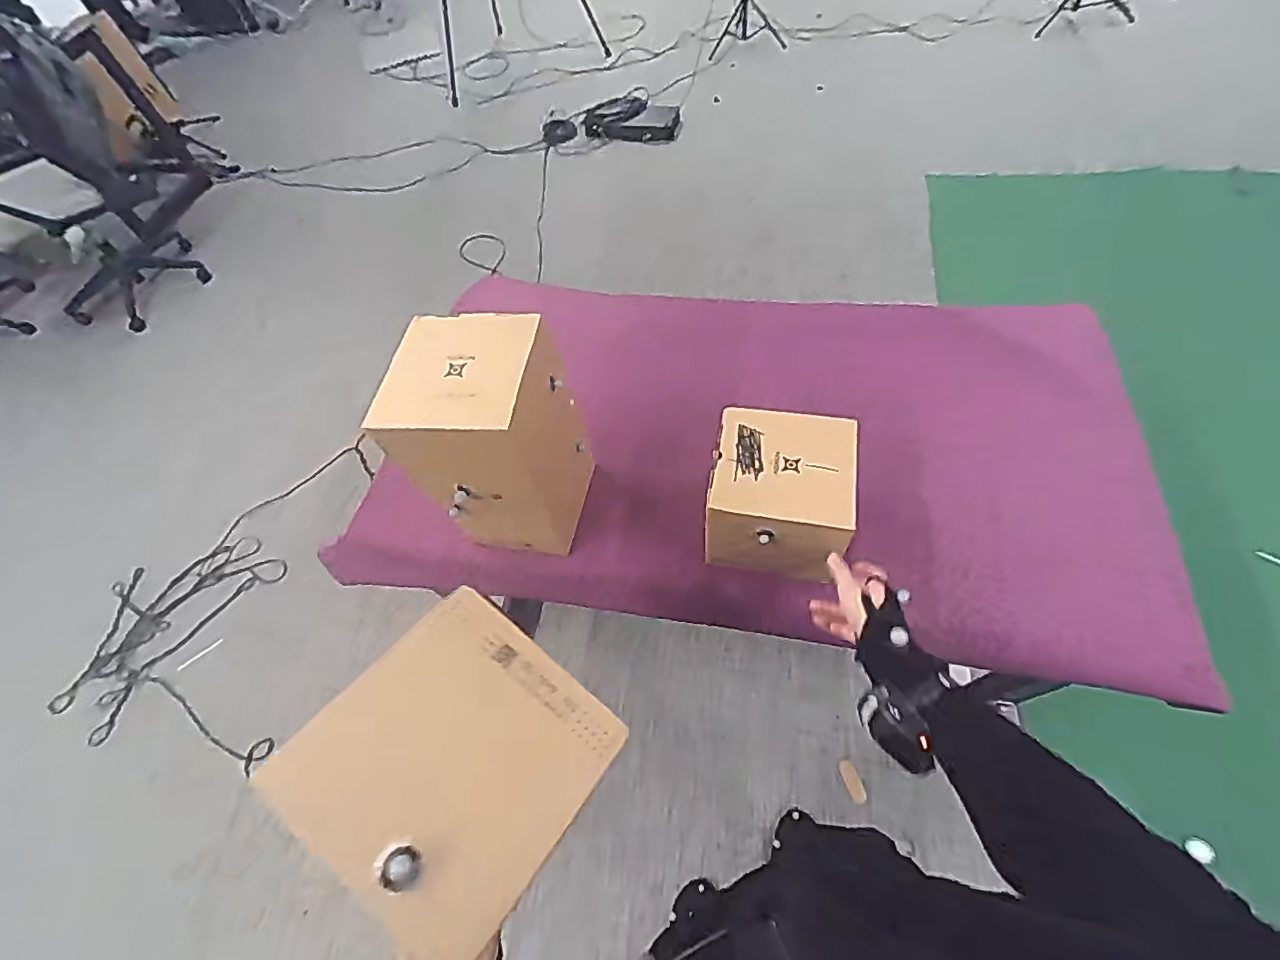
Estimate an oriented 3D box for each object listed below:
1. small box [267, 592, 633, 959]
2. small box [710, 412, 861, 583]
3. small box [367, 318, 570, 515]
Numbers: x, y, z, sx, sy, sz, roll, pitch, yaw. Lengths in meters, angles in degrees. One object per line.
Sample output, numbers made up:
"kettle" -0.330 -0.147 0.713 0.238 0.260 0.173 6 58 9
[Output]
"small box" -0.129 0.219 0.411 0.168 0.179 0.176 40 53 8
"small box" 0.194 0.028 0.746 0.179 0.176 0.168 8 59 11
"small box" -0.191 -0.077 0.667 0.168 0.176 0.179 2 58 9
